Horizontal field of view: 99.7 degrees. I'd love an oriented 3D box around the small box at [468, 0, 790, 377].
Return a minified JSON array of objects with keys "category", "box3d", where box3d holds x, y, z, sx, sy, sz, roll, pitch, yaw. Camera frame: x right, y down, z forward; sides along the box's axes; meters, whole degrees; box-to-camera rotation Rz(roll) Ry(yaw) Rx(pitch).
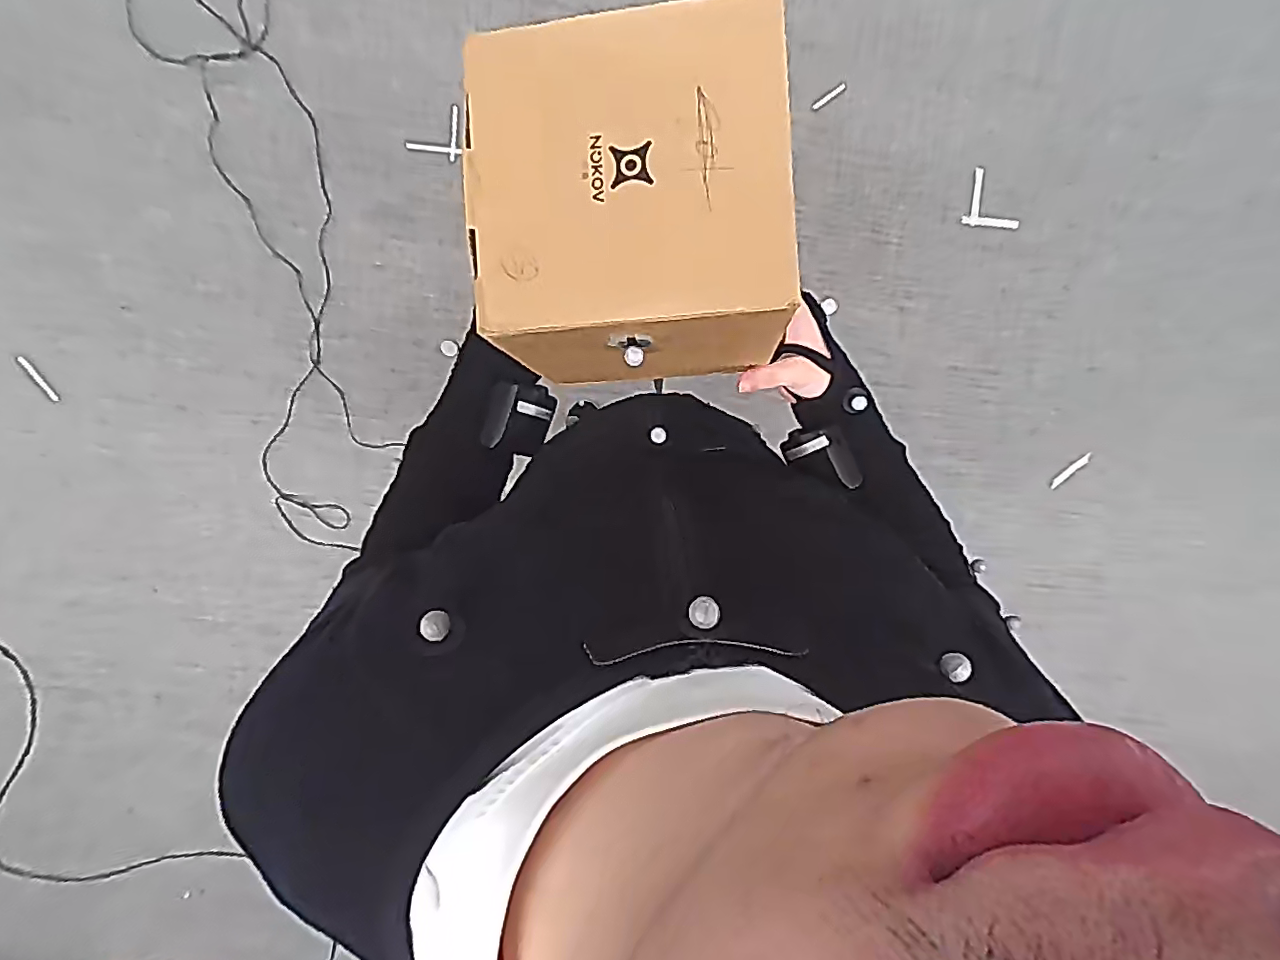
[{"category":"small box","box3d":[0.001,-0.171,0.377,0.179,0.176,0.168,-3,91,6]}]
